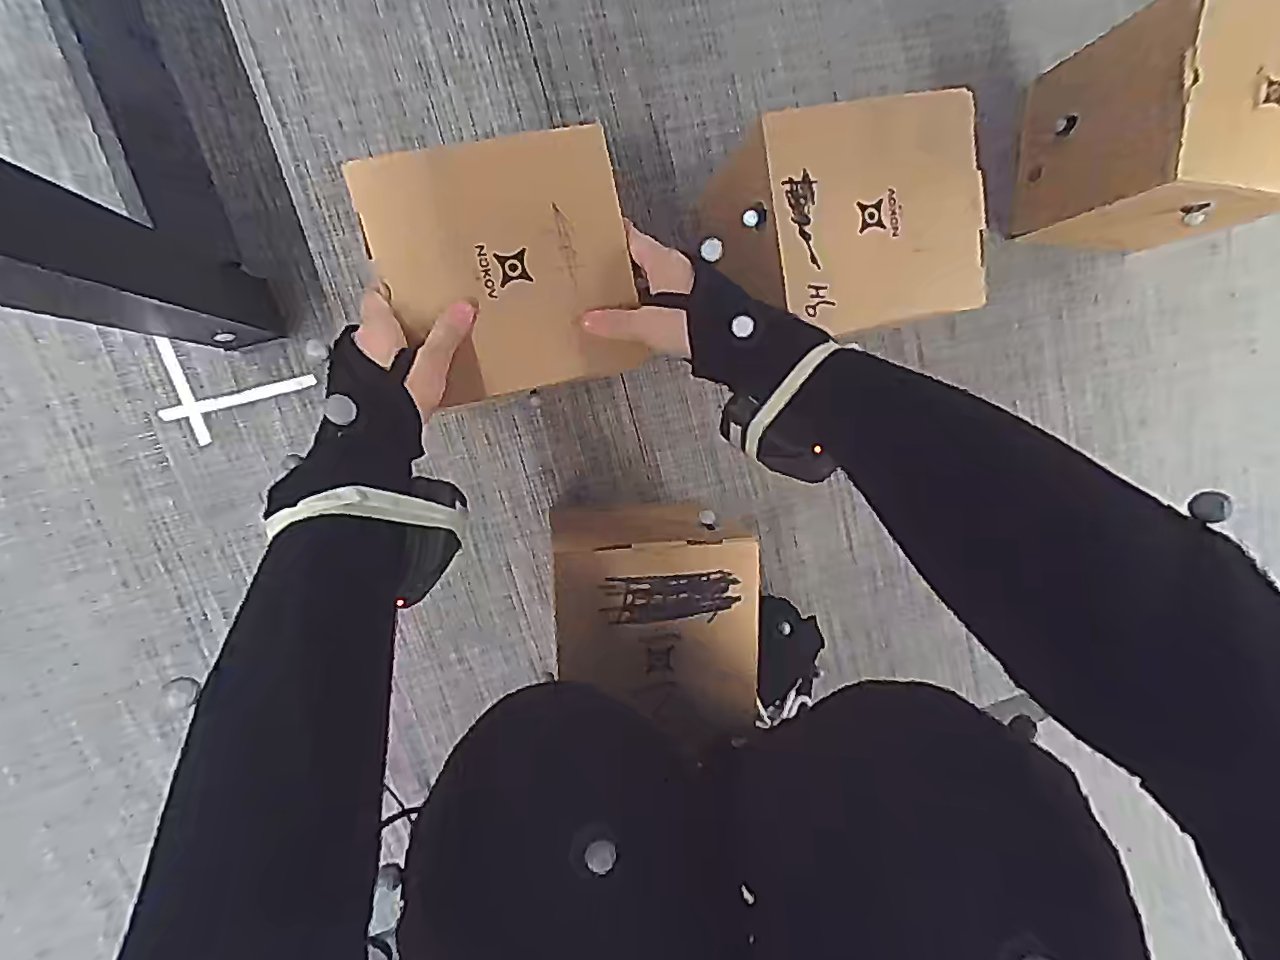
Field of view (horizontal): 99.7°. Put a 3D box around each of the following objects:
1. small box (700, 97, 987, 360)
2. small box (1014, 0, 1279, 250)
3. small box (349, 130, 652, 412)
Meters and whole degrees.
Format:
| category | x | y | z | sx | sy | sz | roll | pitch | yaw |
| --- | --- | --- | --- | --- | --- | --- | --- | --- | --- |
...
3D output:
| category | x | y | z | sx | sy | sz | roll | pitch | yaw |
| --- | --- | --- | --- | --- | --- | --- | --- | --- | --- |
| small box | 0.171 | -0.209 | 0.491 | 0.179 | 0.176 | 0.168 | -12 | 100 | -8 |
| small box | 0.525 | -0.339 | 0.537 | 0.179 | 0.176 | 0.168 | 1 | 98 | -9 |
| small box | -0.103 | -0.153 | 0.450 | 0.179 | 0.176 | 0.168 | -14 | 101 | -9 |
